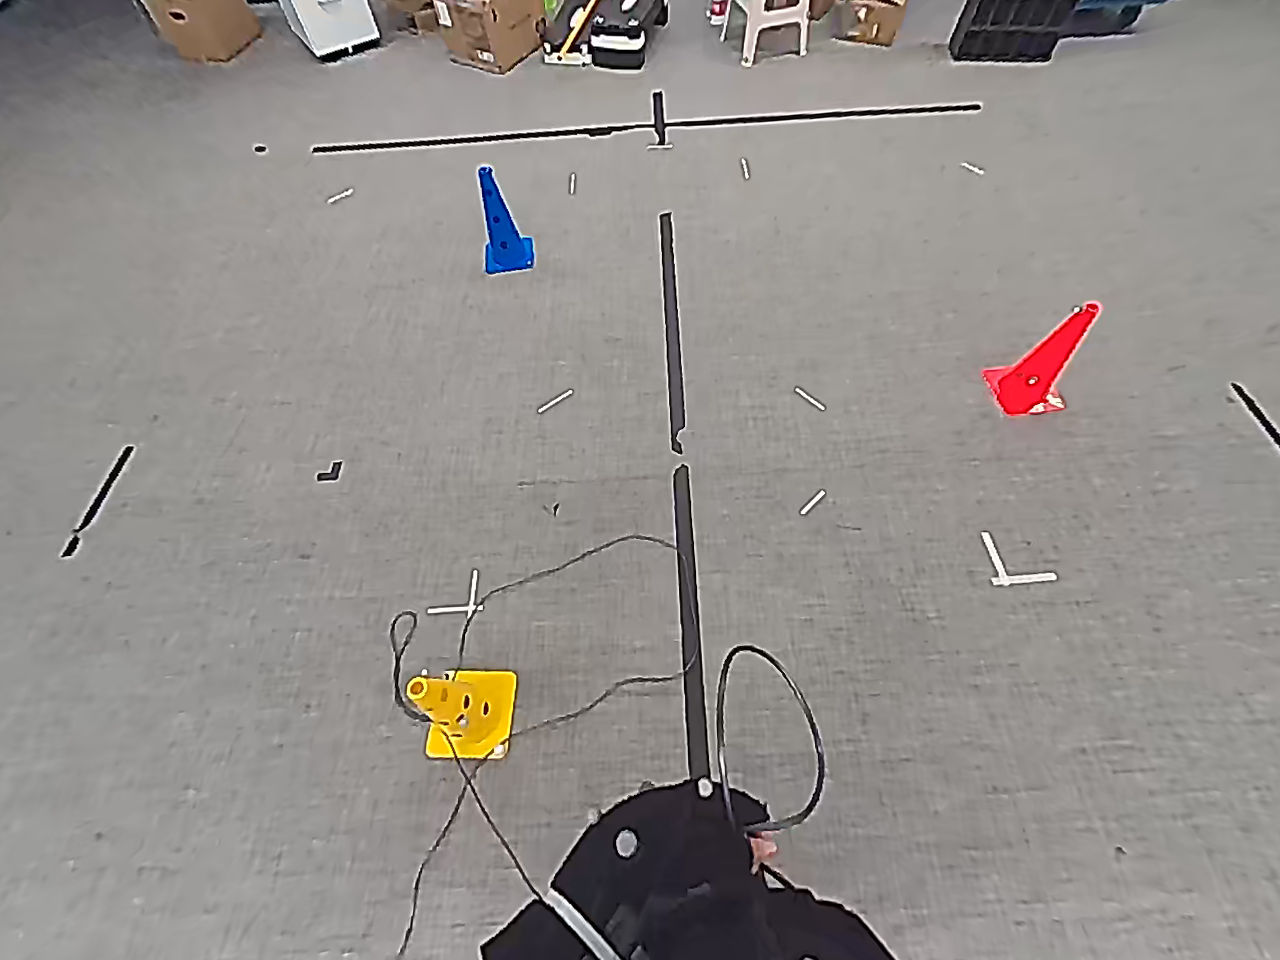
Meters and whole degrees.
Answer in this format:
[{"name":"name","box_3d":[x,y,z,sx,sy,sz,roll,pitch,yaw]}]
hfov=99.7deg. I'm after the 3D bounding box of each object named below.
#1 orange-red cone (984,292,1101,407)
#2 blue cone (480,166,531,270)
[{"name":"orange-red cone","box_3d":[1.246,-0.410,1.625,0.198,0.360,0.199,-6,58,-1]},{"name":"blue cone","box_3d":[-0.555,-1.020,2.092,0.192,0.380,0.193,-7,59,-1]}]
